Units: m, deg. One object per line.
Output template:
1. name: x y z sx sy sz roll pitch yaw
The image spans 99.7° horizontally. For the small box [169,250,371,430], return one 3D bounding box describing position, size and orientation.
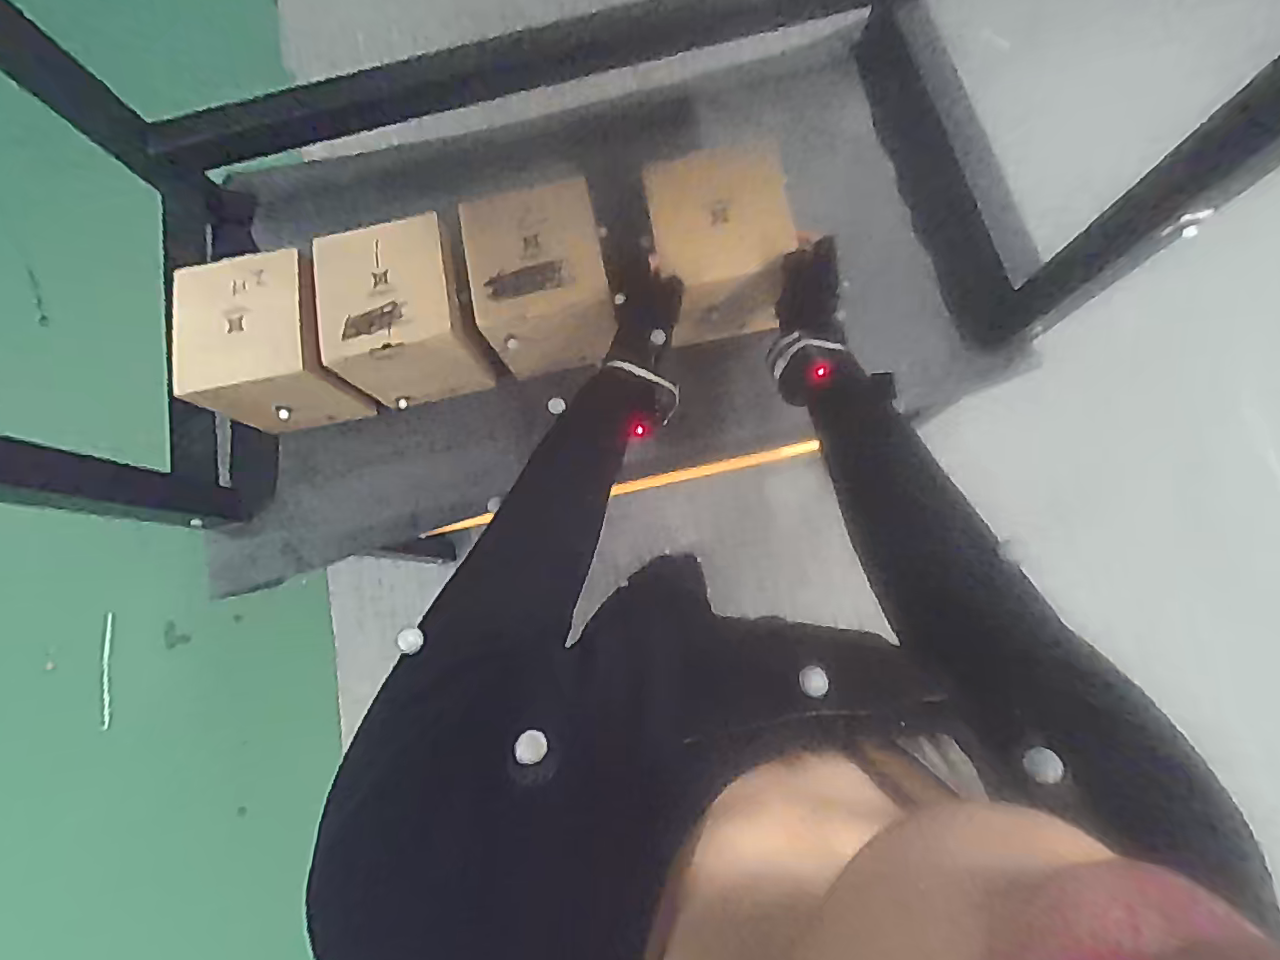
1. small box: -0.491 -0.177 0.740 0.168 0.176 0.179 -10 77 1
